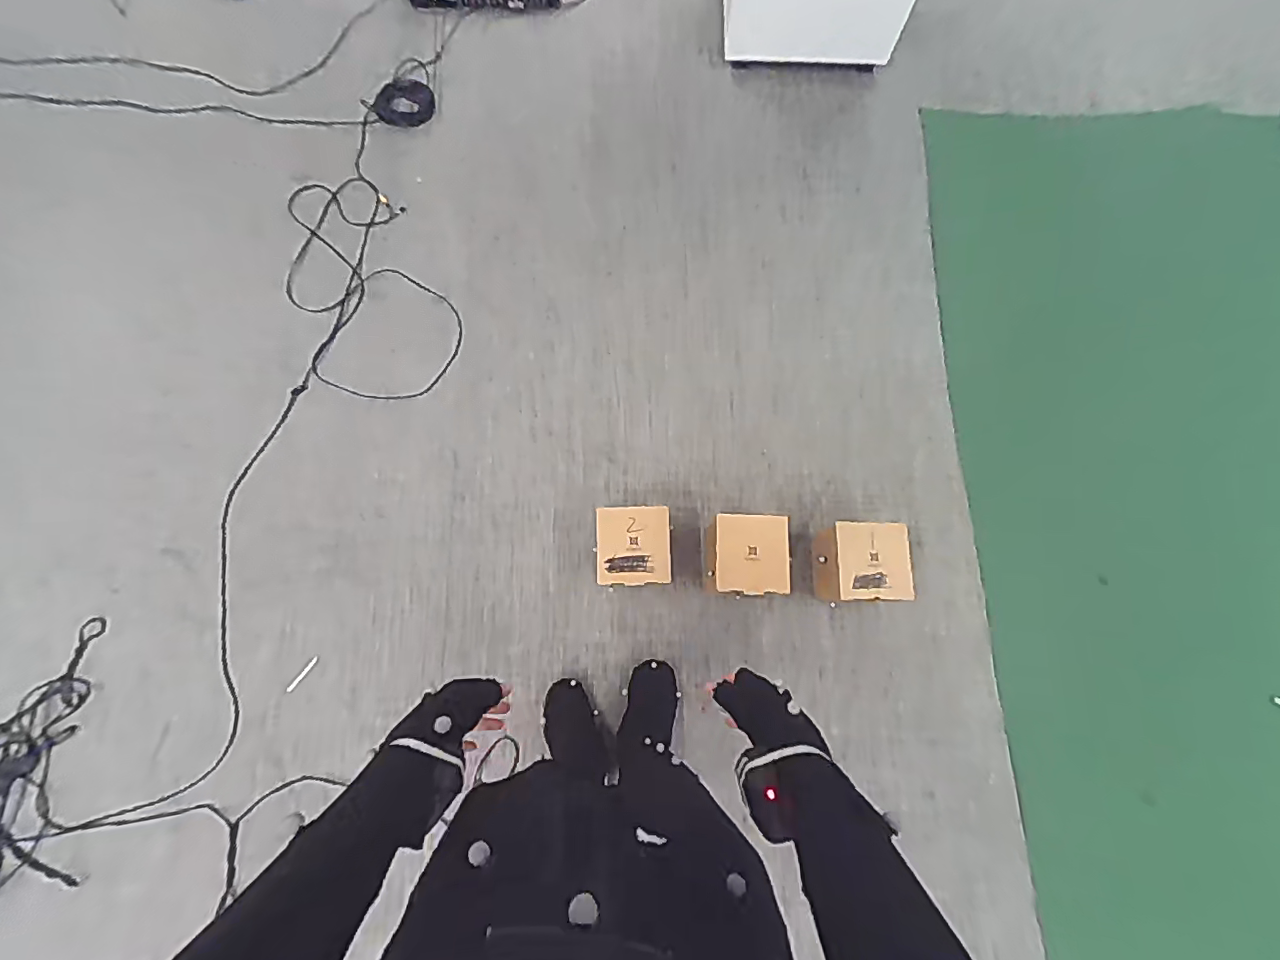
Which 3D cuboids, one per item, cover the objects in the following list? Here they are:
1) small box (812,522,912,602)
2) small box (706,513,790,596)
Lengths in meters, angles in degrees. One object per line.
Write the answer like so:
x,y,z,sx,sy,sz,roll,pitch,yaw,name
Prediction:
0.519,0.200,1.284,0.168,0.176,0.179,1,76,-1,small box
0.250,0.181,1.284,0.168,0.176,0.179,2,77,-1,small box
